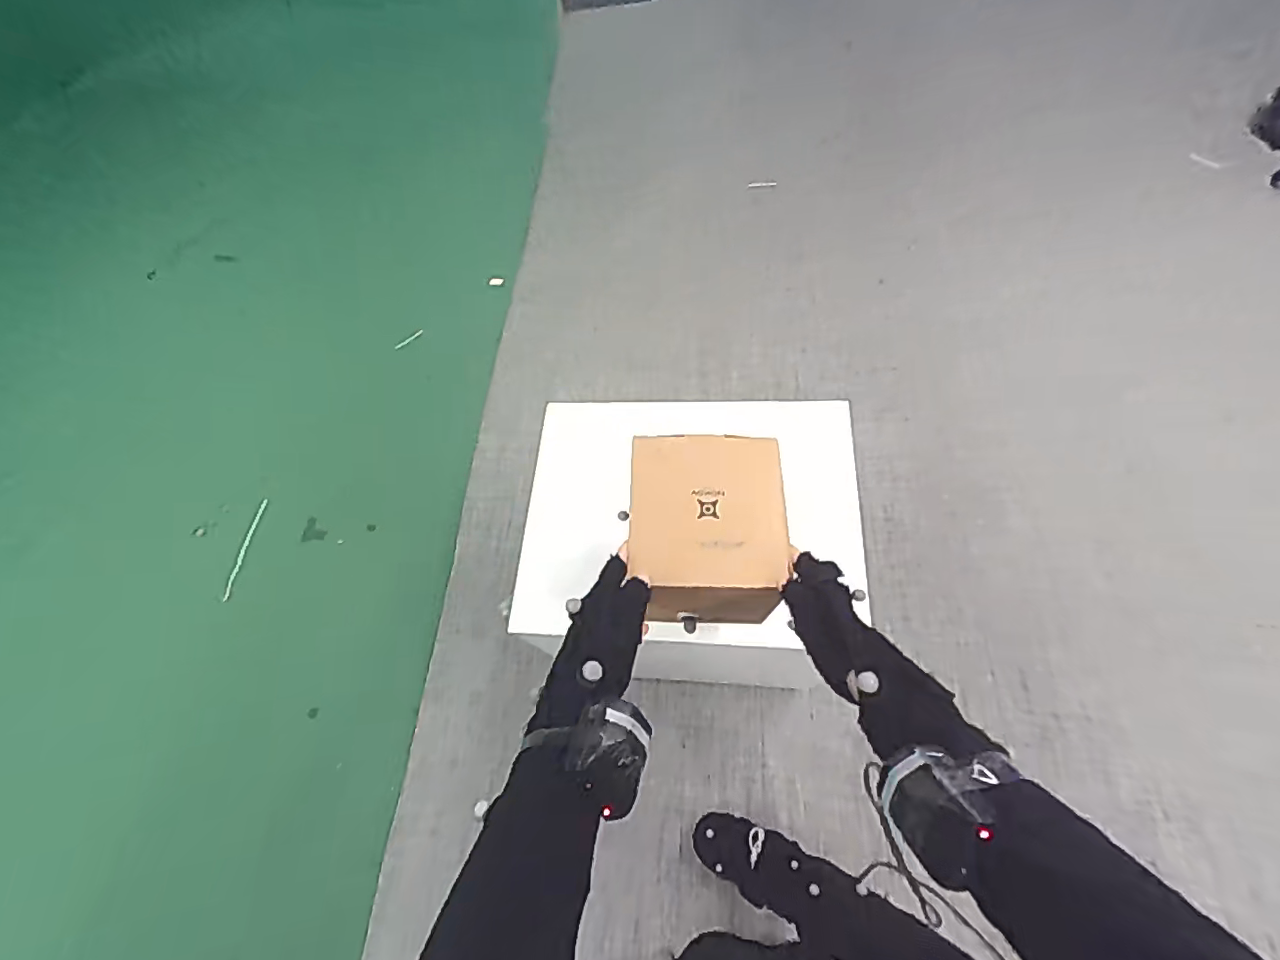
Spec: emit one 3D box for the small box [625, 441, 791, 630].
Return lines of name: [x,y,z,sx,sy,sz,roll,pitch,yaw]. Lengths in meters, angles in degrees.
small box: [0.071,0.070,0.636,0.168,0.176,0.179,0,64,2]
